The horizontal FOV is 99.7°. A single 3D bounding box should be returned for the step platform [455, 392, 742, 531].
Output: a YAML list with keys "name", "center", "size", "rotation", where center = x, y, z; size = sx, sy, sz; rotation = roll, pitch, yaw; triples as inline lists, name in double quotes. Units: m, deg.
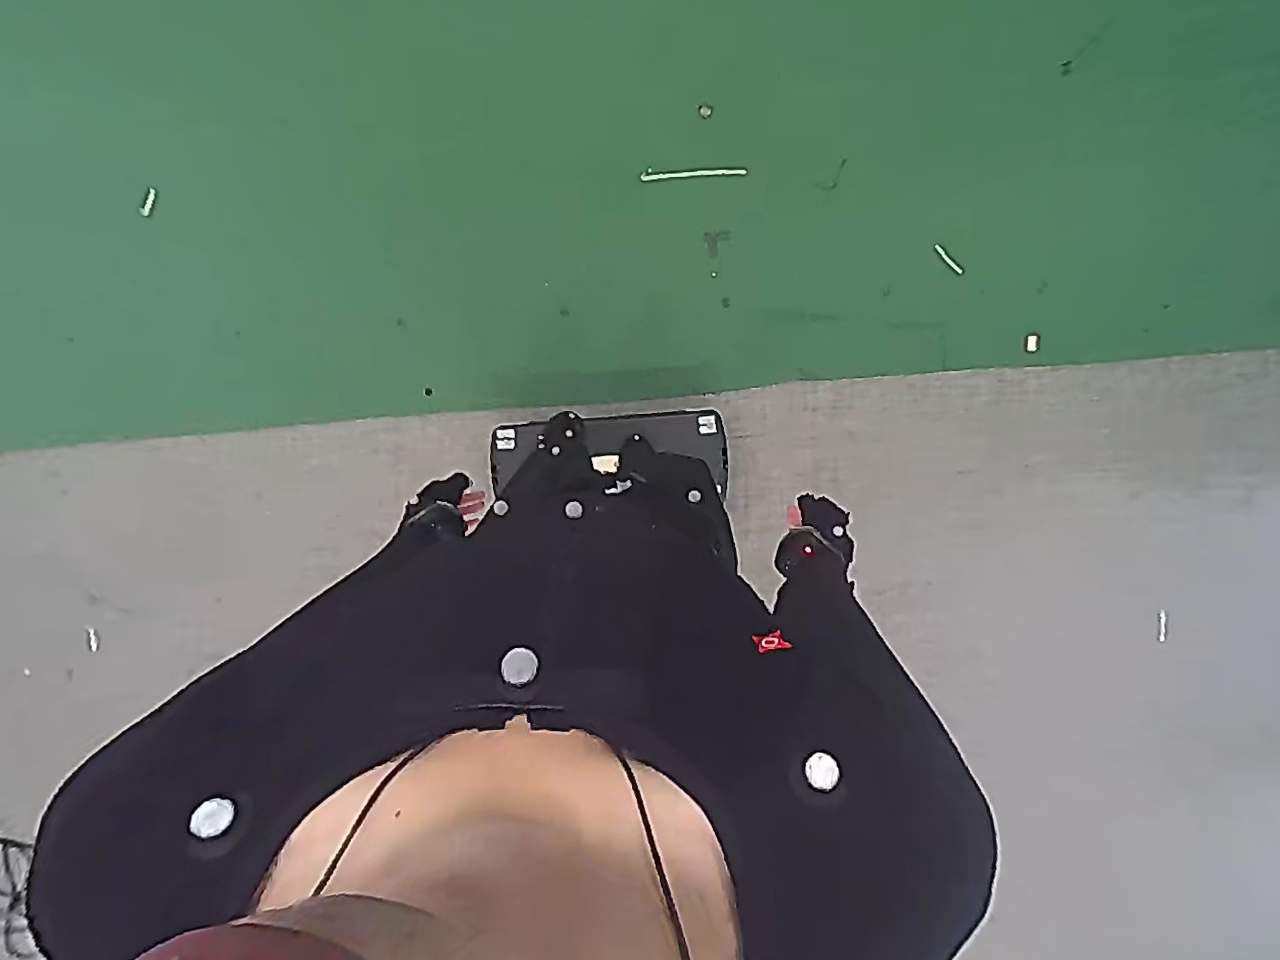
- name: "step platform"
  center: [-0.097, -0.054, 1.377]
  size: [0.684, 0.204, 0.286]
  rotation: [-5, 96, 0]
